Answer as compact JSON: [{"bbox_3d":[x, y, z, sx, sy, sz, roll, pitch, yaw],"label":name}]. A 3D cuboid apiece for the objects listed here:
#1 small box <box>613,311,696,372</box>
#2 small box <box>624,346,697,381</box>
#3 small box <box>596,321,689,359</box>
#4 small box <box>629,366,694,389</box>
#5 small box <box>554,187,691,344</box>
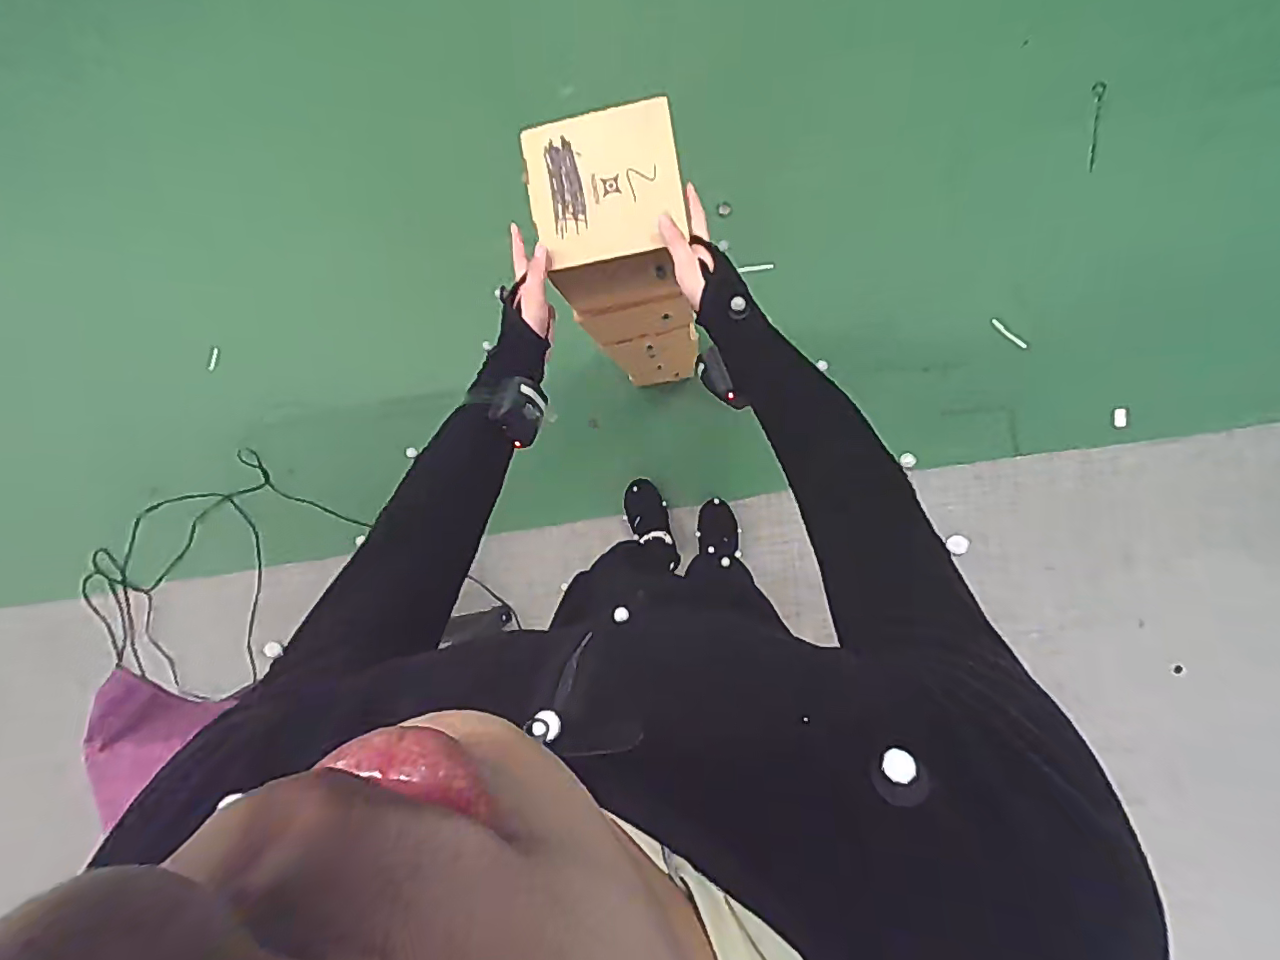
[{"bbox_3d":[0.022,-0.342,1.181,0.179,0.176,0.168,-13,92,6],"label":"small box"},{"bbox_3d":[0.041,-0.350,1.343,0.179,0.176,0.168,-11,92,7],"label":"small box"},{"bbox_3d":[-0.003,-0.332,1.020,0.168,0.176,0.179,-11,93,7],"label":"small box"},{"bbox_3d":[0.052,-0.355,1.505,0.179,0.176,0.168,-9,92,6],"label":"small box"},{"bbox_3d":[-0.018,-0.326,0.857,0.179,0.176,0.168,-11,91,8],"label":"small box"}]
